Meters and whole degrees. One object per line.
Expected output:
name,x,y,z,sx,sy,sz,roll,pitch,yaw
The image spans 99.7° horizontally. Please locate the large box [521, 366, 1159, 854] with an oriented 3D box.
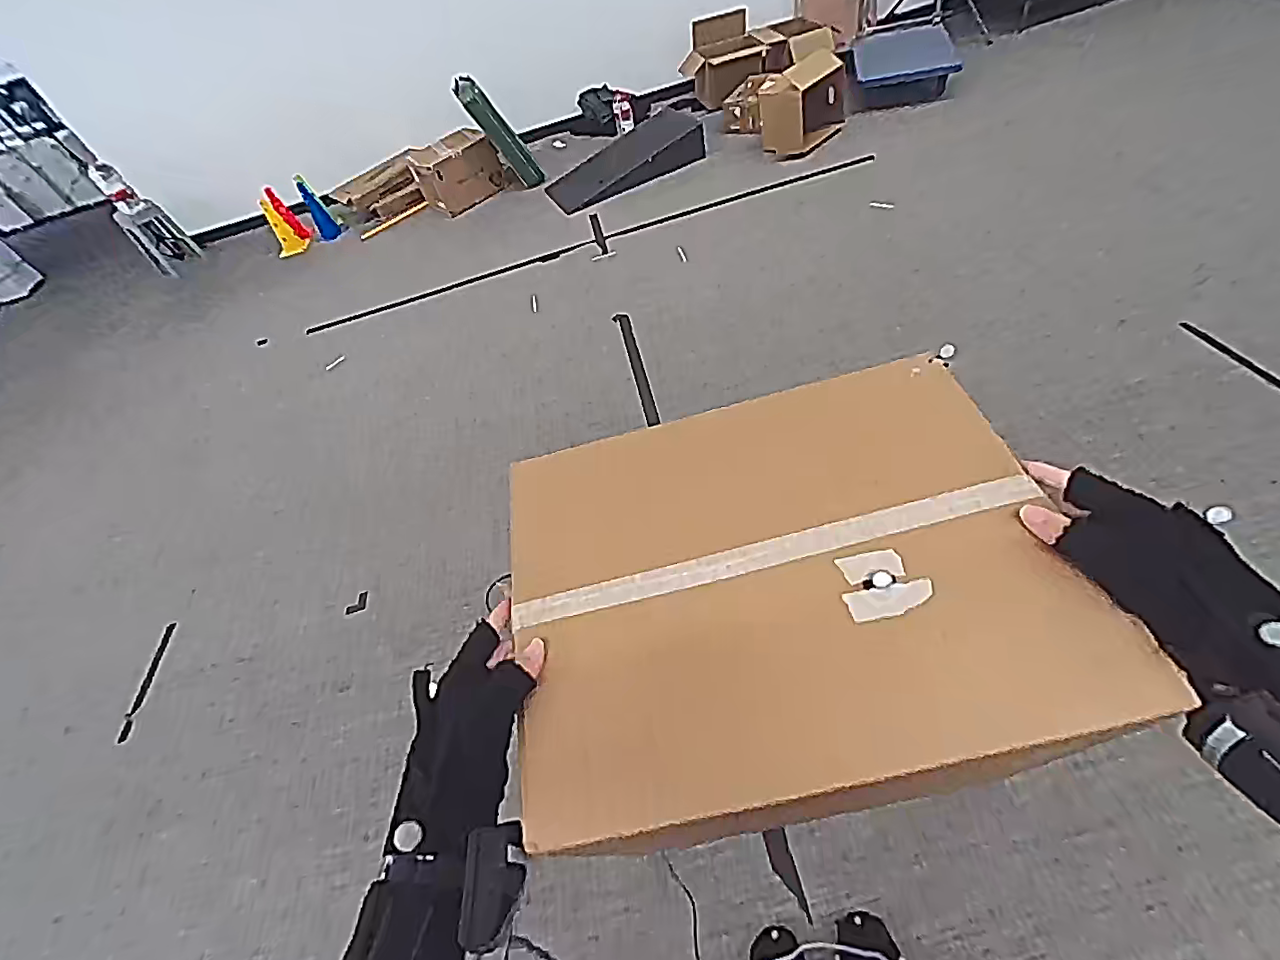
large box,0.129,0.147,0.544,0.408,0.320,0.320,-15,54,3
